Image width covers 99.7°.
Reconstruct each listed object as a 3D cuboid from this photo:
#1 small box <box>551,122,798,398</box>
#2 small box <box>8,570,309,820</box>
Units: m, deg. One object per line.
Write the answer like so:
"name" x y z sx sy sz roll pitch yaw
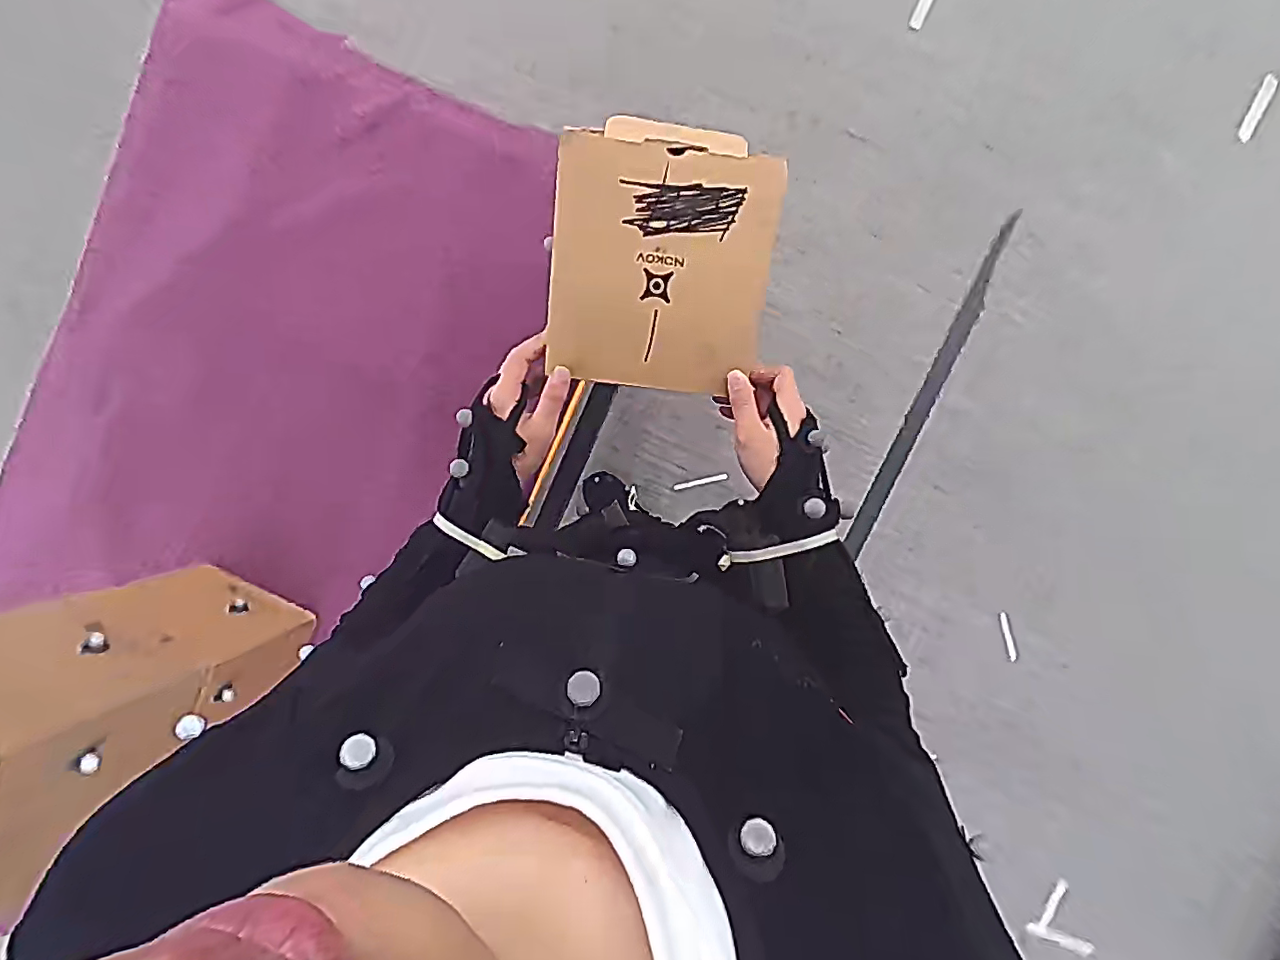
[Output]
"small box" 0.021 -0.184 0.485 0.168 0.176 0.179 8 109 -3
"small box" -0.522 0.225 0.614 0.168 0.176 0.179 24 93 2
